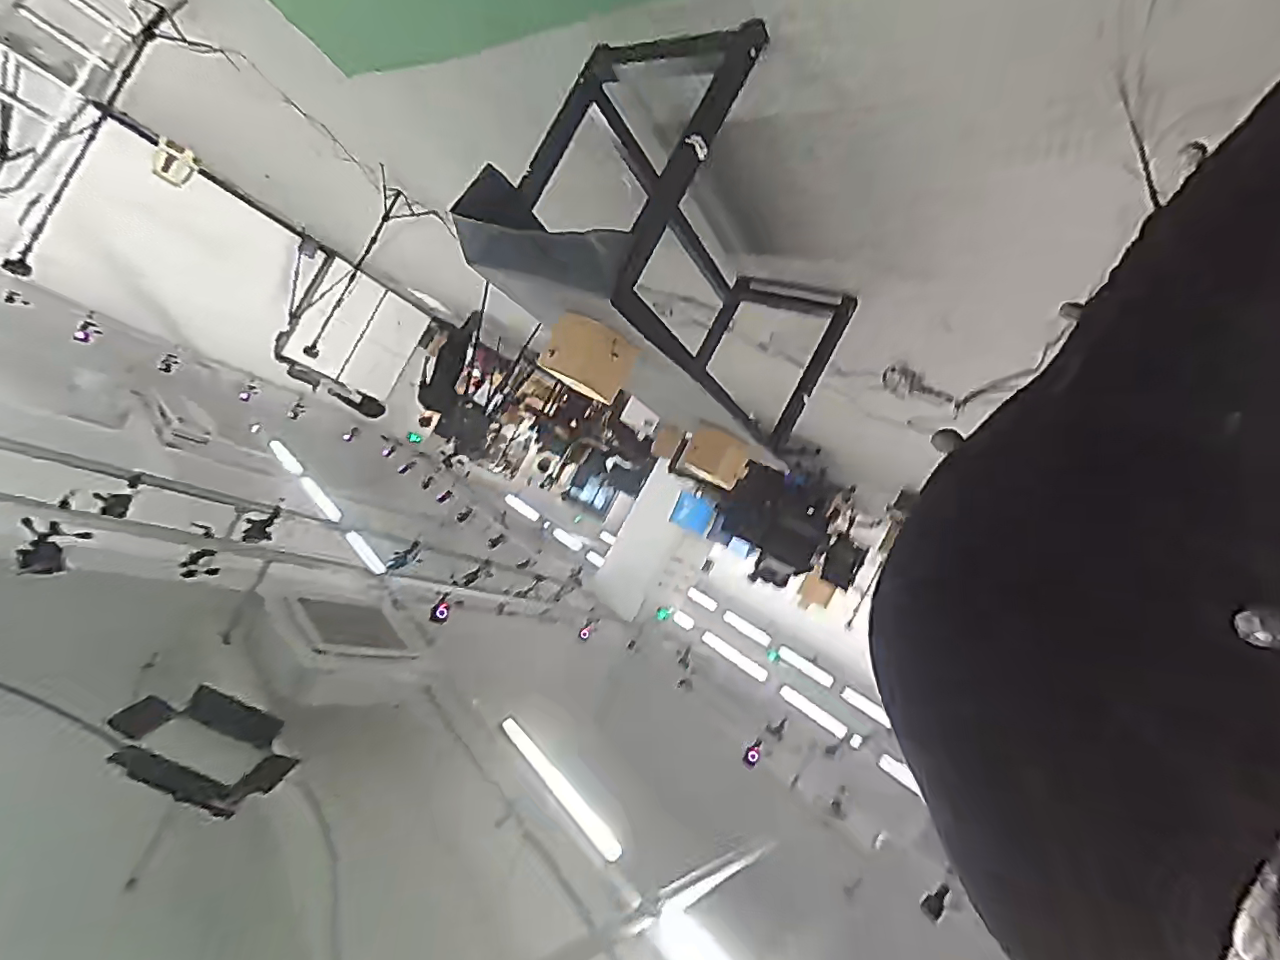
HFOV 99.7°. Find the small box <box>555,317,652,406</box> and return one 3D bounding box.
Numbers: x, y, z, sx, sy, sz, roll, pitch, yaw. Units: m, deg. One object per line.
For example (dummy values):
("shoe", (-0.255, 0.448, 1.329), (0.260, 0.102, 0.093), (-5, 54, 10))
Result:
("small box", (-0.099, -0.336, 1.514), (0.179, 0.176, 0.168), (29, -179, 40))
